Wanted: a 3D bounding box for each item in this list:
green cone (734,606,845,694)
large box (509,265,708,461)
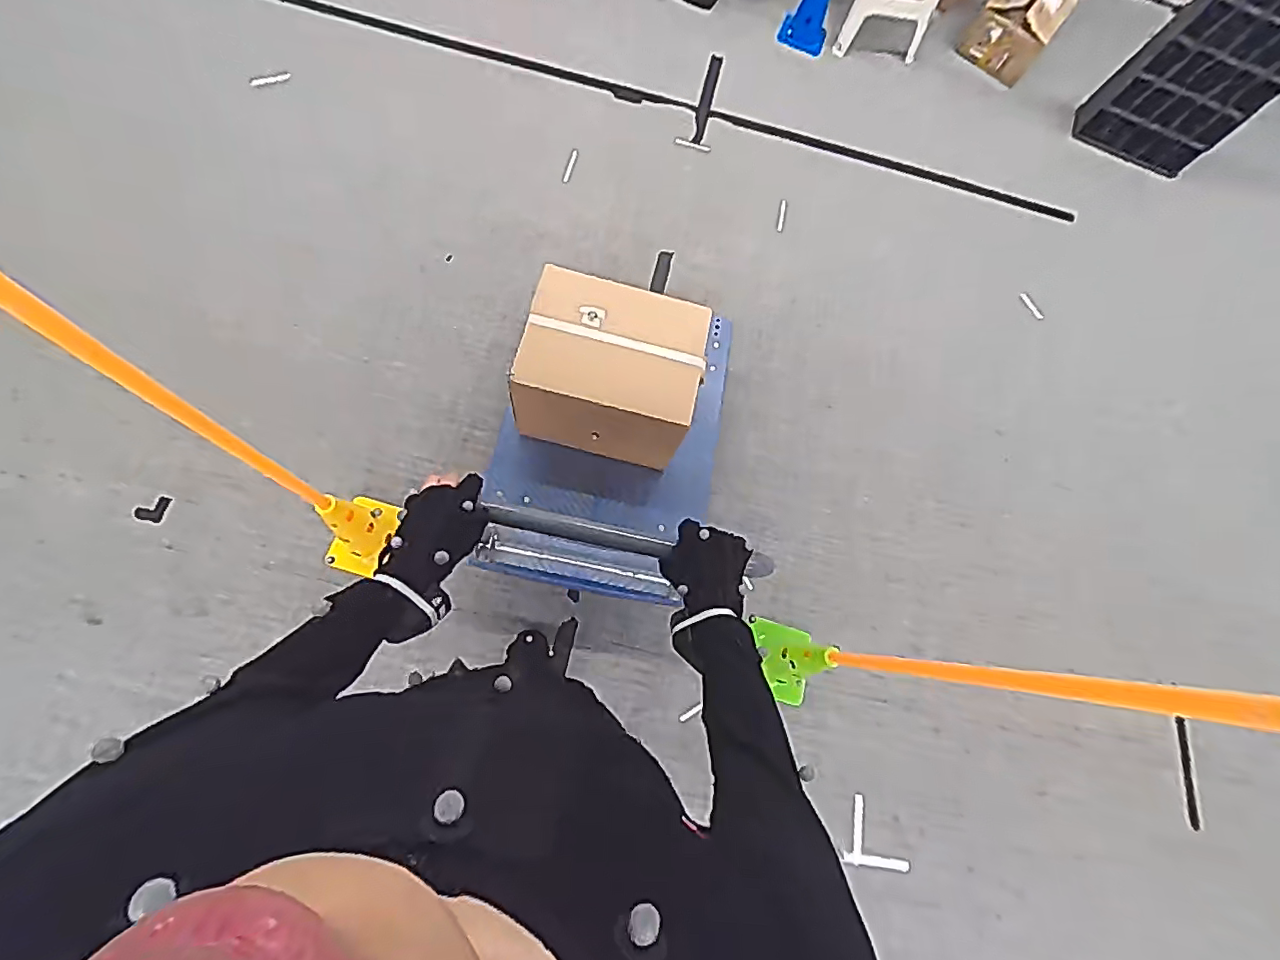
[{"bbox_3d":[0.397,0.420,1.345,0.202,0.368,0.200,18,70,-3],"label":"green cone"},{"bbox_3d":[-0.076,-0.272,1.354,0.408,0.320,0.320,14,72,-3],"label":"large box"}]
